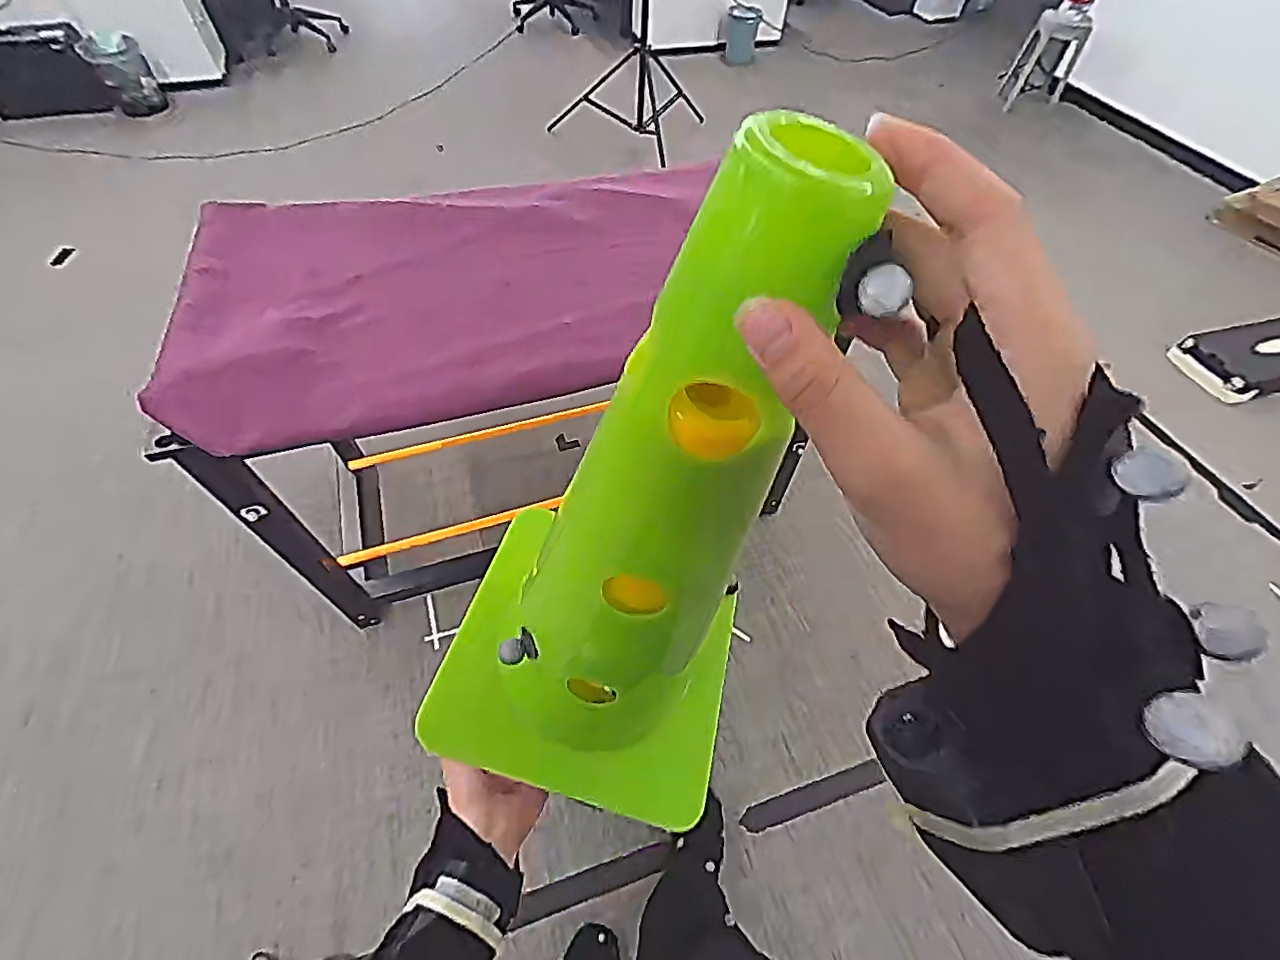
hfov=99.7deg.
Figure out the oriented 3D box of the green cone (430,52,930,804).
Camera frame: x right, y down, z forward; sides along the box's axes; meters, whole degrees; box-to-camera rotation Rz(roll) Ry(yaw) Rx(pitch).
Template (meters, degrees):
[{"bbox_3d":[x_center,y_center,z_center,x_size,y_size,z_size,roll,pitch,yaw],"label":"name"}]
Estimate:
[{"bbox_3d":[0.009,0.011,0.267,0.200,0.368,0.202,18,53,-1],"label":"green cone"}]
